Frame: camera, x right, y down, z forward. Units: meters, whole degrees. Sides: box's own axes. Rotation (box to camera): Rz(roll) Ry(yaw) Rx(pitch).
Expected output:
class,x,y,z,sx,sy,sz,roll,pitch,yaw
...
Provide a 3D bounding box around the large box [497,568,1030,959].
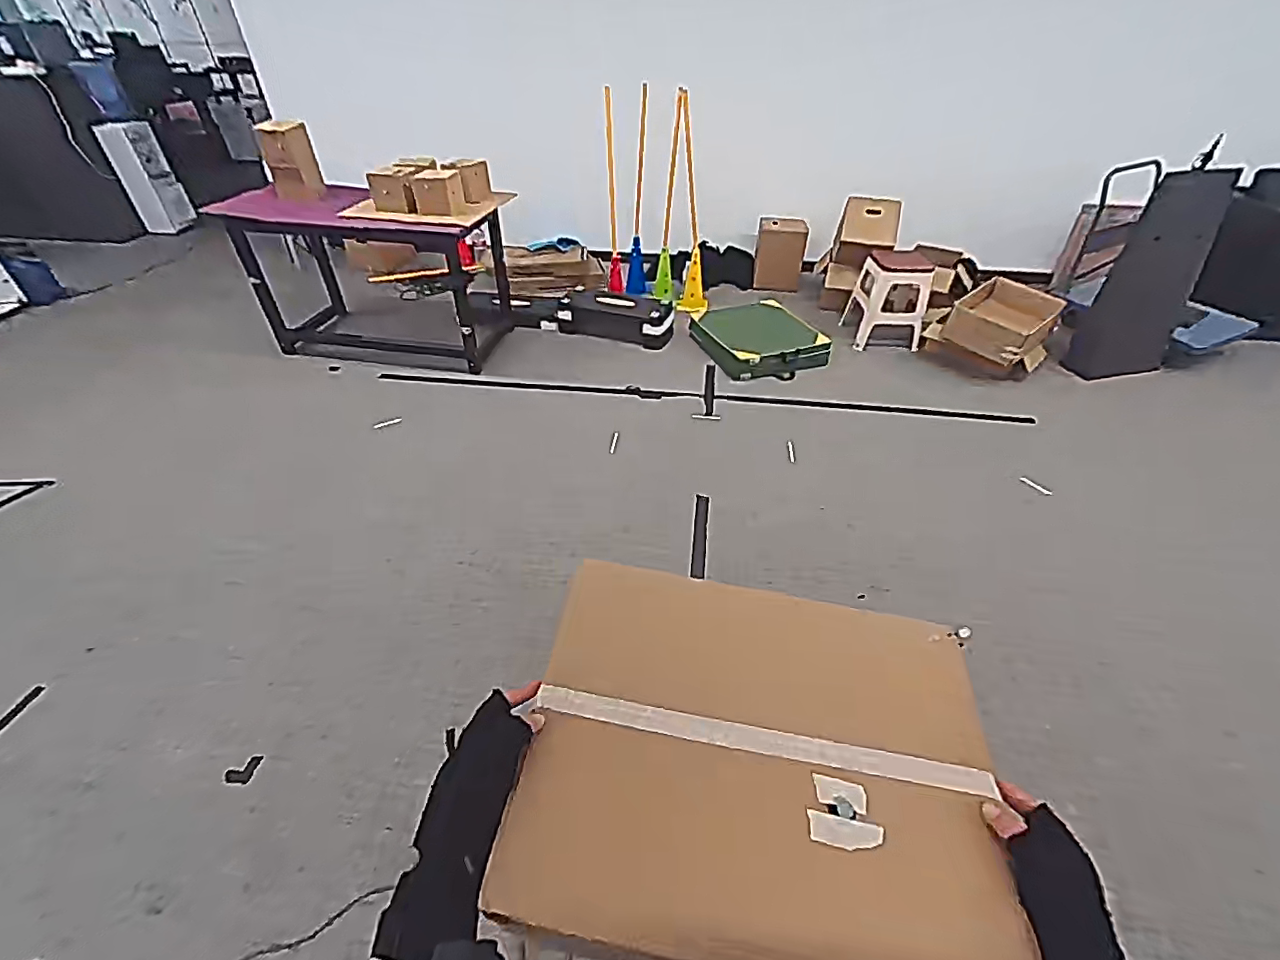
class,x,y,z,sx,sy,sz,roll,pitch,yaw
large box,0.098,0.338,0.596,0.408,0.320,0.320,10,48,4
